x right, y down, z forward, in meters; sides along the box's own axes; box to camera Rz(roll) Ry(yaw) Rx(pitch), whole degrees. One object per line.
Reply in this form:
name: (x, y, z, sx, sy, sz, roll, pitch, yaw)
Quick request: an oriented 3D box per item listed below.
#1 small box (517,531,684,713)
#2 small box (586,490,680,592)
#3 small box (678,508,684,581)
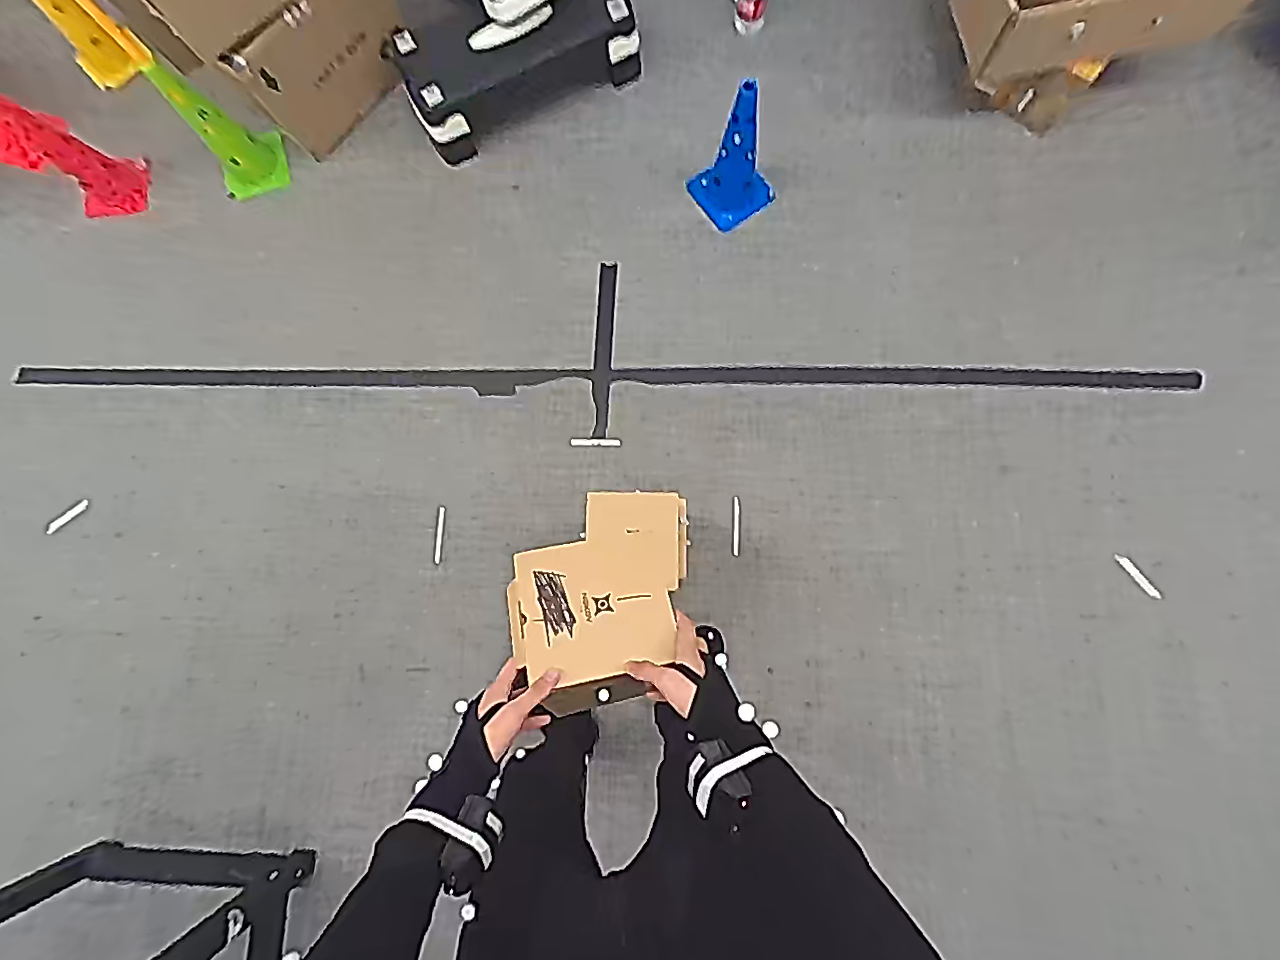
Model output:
small box: (-0.046, 0.189, 0.696, 0.179, 0.176, 0.168, -12, 60, -4)
small box: (-0.012, 0.118, 1.026, 0.168, 0.176, 0.179, 1, 81, 2)
small box: (0.026, 0.163, 1.352, 0.168, 0.176, 0.179, -3, 80, 3)
